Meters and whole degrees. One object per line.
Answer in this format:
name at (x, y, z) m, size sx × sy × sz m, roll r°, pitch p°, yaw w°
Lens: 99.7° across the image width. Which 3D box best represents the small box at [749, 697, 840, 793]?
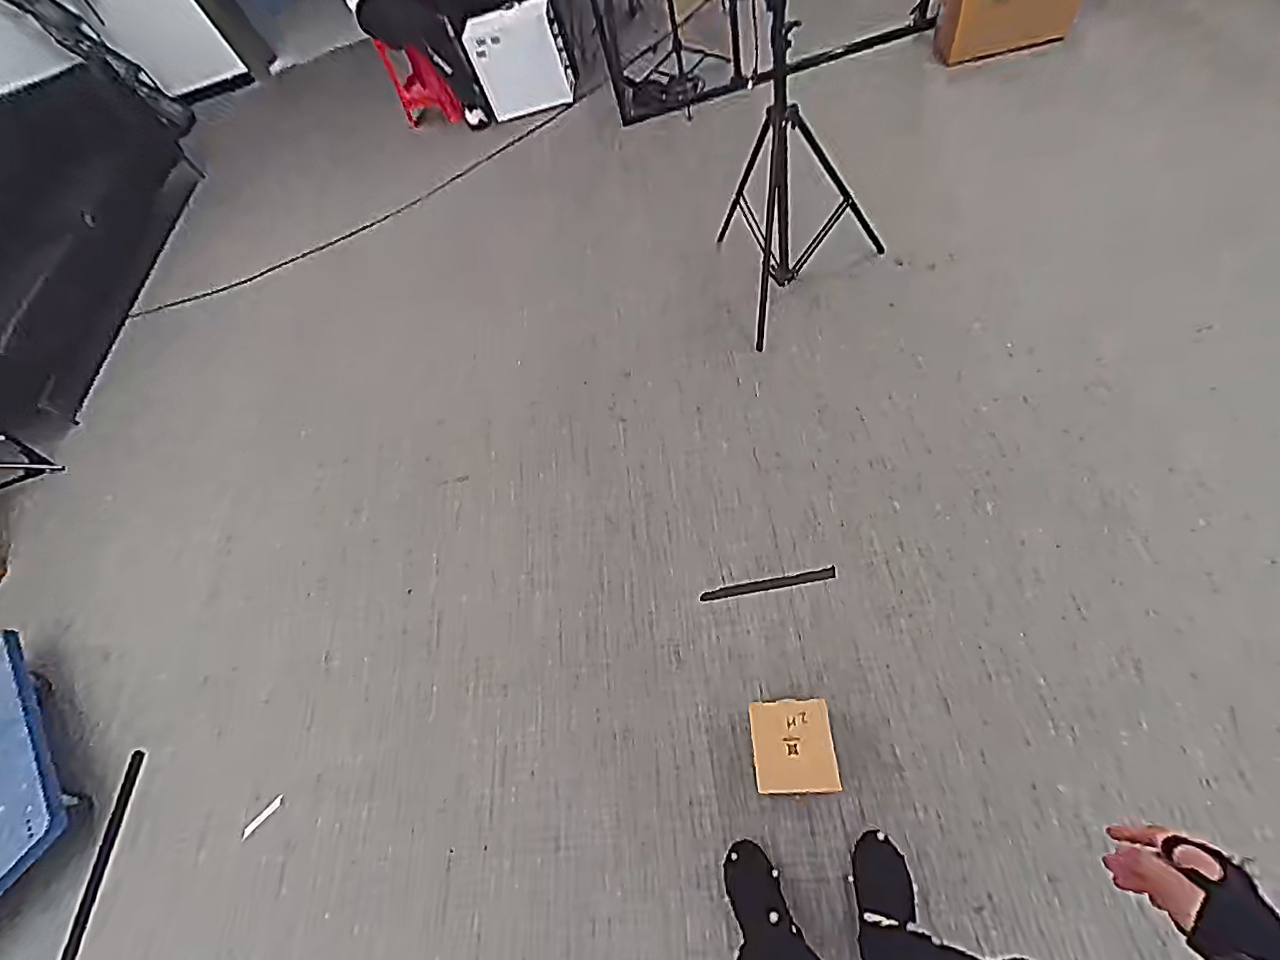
small box at (0.337, 0.585, 1.192) m, size 0.168 × 0.176 × 0.179 m, roll -8°, pitch 60°, yaw 11°
